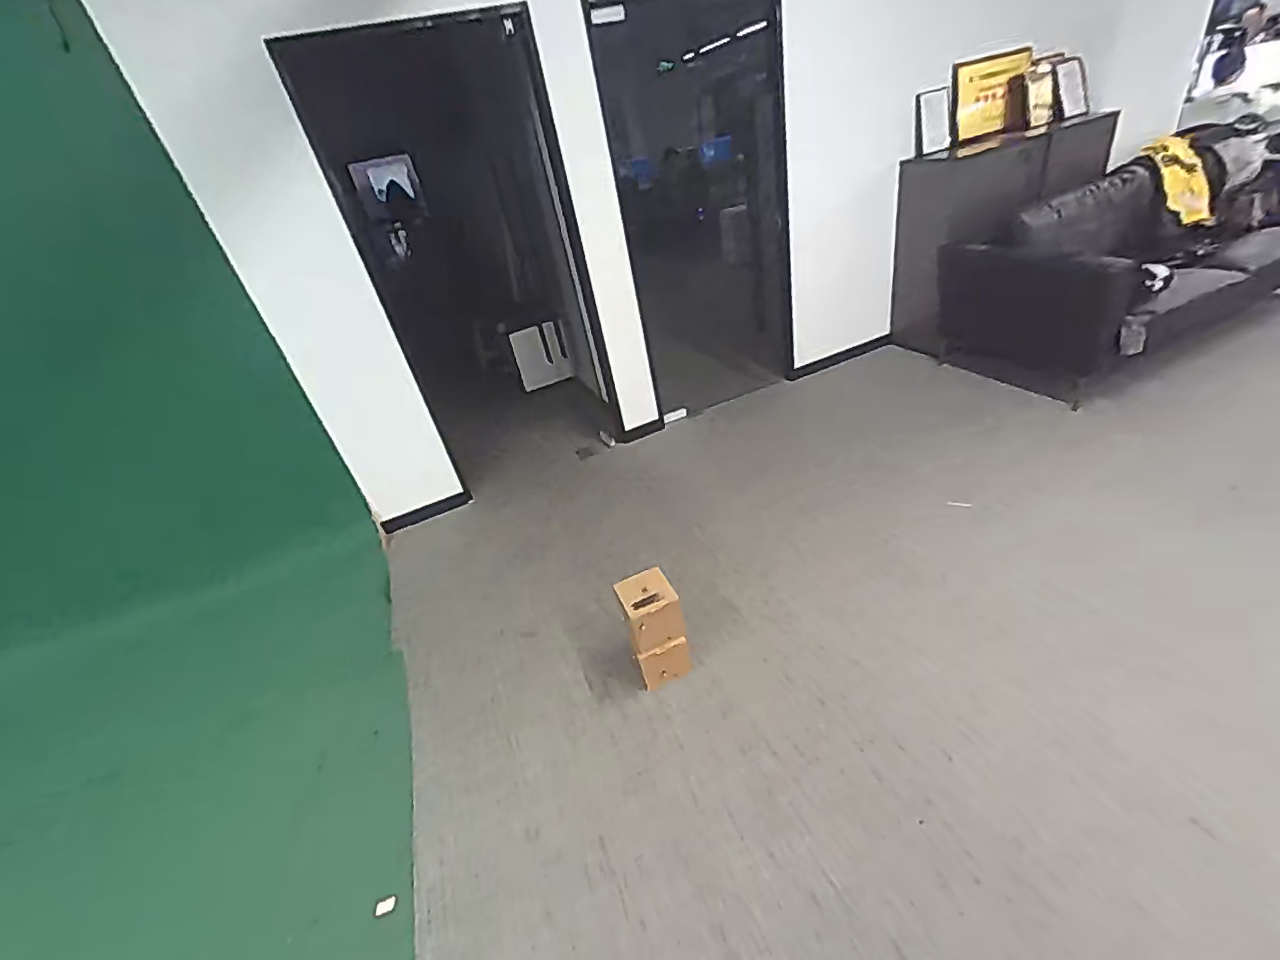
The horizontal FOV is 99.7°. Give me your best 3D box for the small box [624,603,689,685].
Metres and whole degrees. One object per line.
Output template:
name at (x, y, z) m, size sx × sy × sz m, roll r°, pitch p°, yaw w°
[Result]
small box at (0.055, 0.560, 1.840) m, size 0.168 × 0.176 × 0.179 m, roll -18°, pitch 34°, yaw -9°
